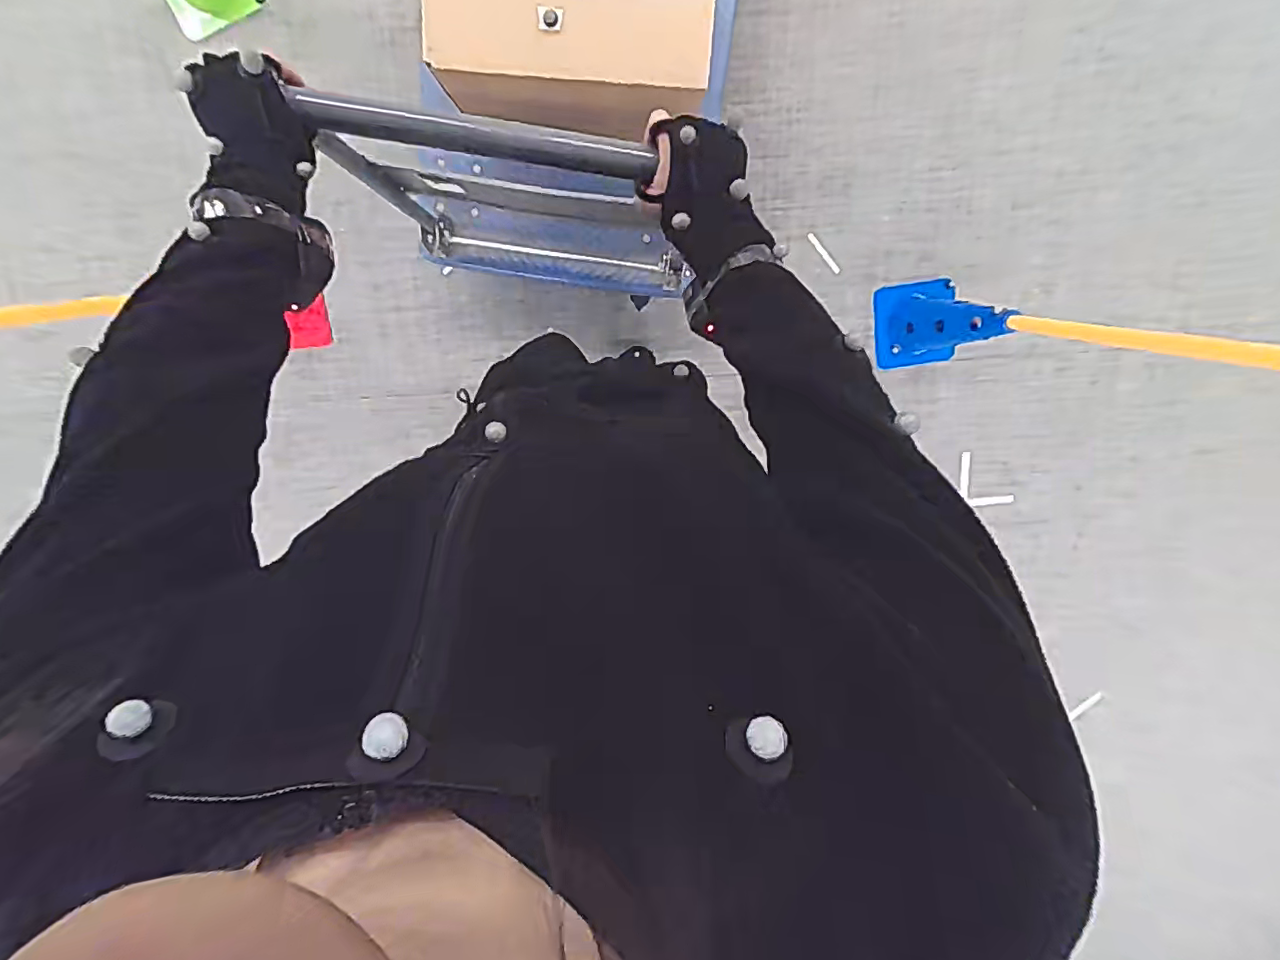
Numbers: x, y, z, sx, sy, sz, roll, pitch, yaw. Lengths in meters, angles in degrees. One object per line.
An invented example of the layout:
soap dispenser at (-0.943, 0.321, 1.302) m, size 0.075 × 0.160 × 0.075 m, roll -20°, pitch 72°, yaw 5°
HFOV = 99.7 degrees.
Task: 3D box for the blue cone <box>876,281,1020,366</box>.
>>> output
blue cone at (0.692, -0.349, 1.193) m, size 0.193 × 0.380 × 0.192 m, roll -7°, pitch 104°, yaw 0°
